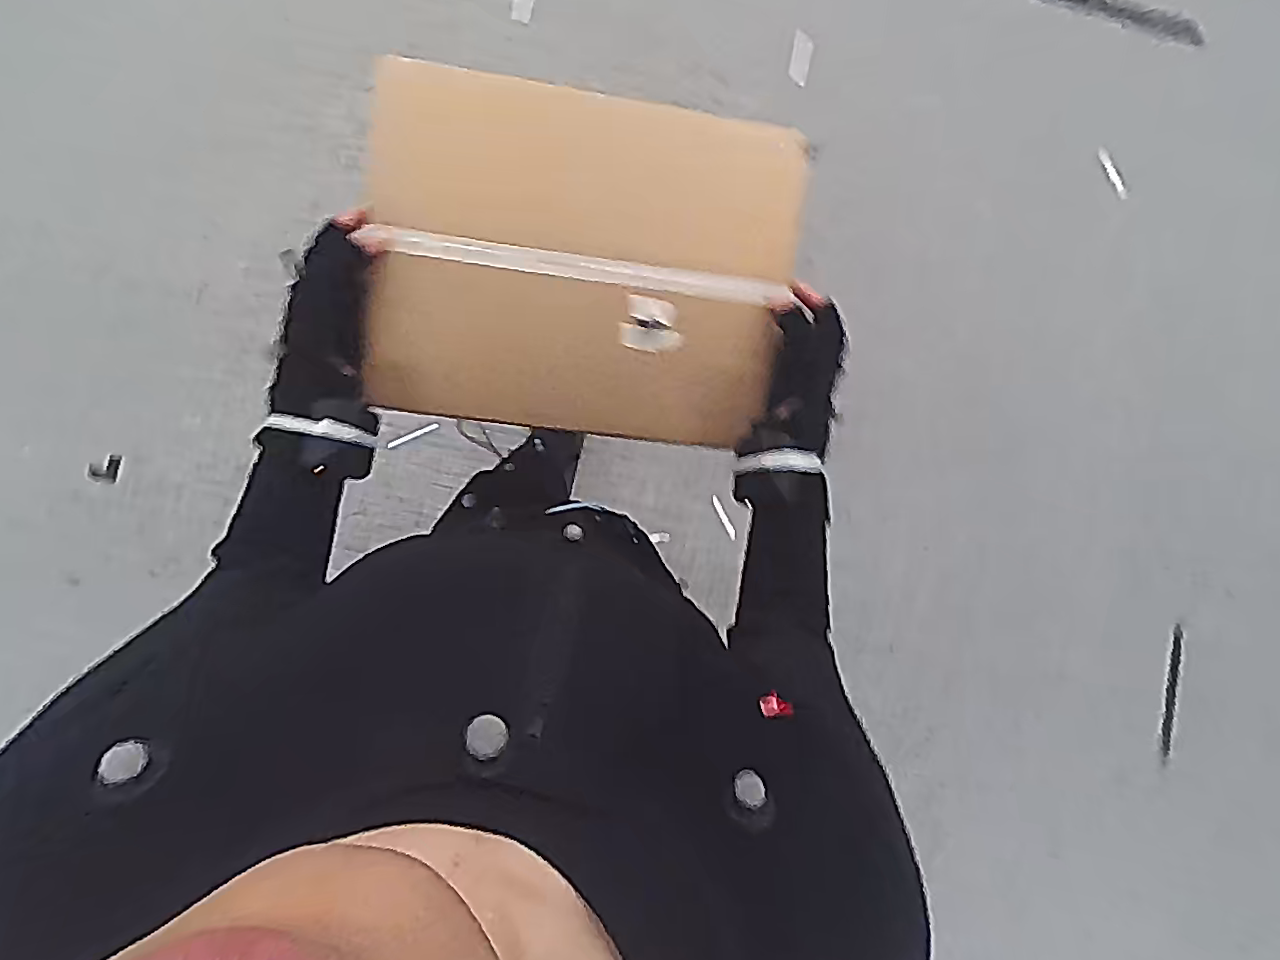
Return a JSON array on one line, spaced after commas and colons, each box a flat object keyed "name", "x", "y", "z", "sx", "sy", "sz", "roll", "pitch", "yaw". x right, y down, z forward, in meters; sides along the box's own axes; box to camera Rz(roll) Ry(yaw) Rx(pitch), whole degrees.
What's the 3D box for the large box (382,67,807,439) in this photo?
[{"name": "large box", "x": -0.060, "y": -0.232, "z": 0.686, "sx": 0.408, "sy": 0.320, "sz": 0.320, "roll": 7, "pitch": 97, "yaw": -7}]
